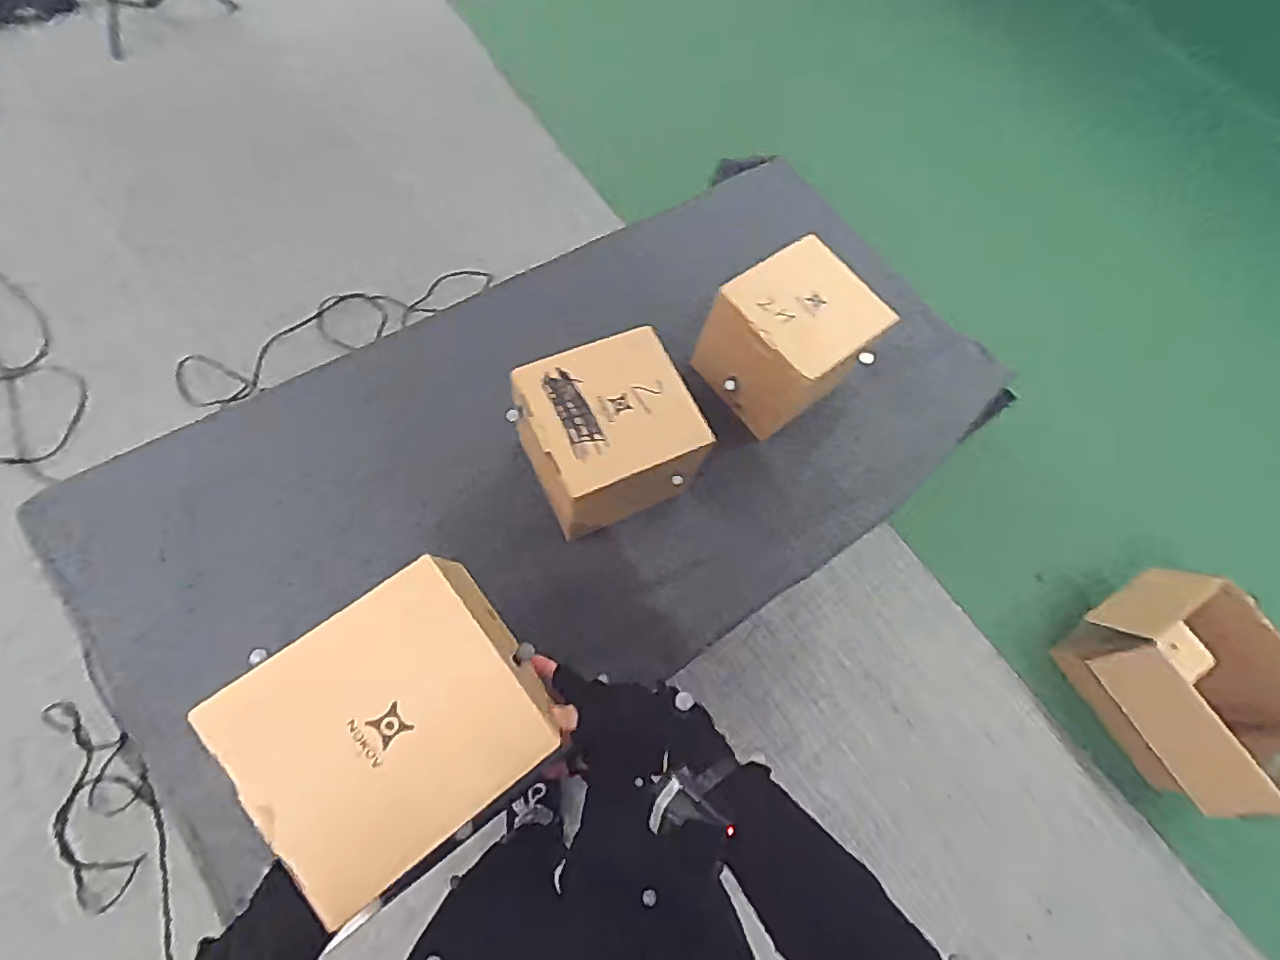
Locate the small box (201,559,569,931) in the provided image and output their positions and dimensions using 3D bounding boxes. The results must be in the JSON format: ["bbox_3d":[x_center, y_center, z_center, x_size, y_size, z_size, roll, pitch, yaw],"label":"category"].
[{"bbox_3d":[-0.177,0.180,0.433,0.179,0.176,0.168,-34,87,-14],"label":"small box"}]

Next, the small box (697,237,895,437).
[{"bbox_3d":[0.205,-0.193,0.759,0.179,0.176,0.168,-35,77,-19],"label":"small box"}]
